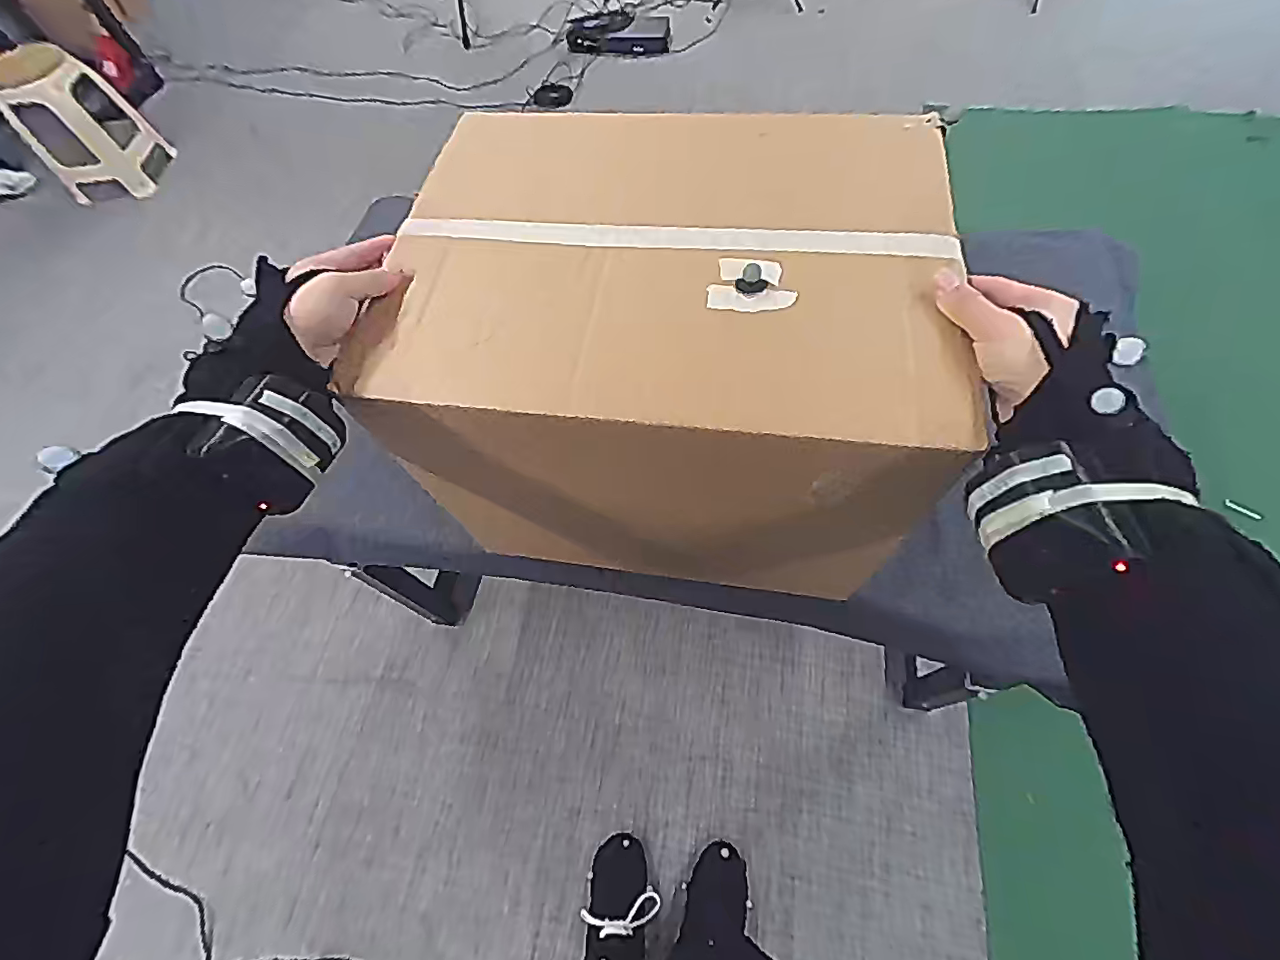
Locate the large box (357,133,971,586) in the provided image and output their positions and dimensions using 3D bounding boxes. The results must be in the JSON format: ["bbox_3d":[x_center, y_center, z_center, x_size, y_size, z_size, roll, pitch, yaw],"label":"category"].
[{"bbox_3d":[0.030,-0.104,0.541,0.408,0.320,0.320,6,64,8],"label":"large box"}]
